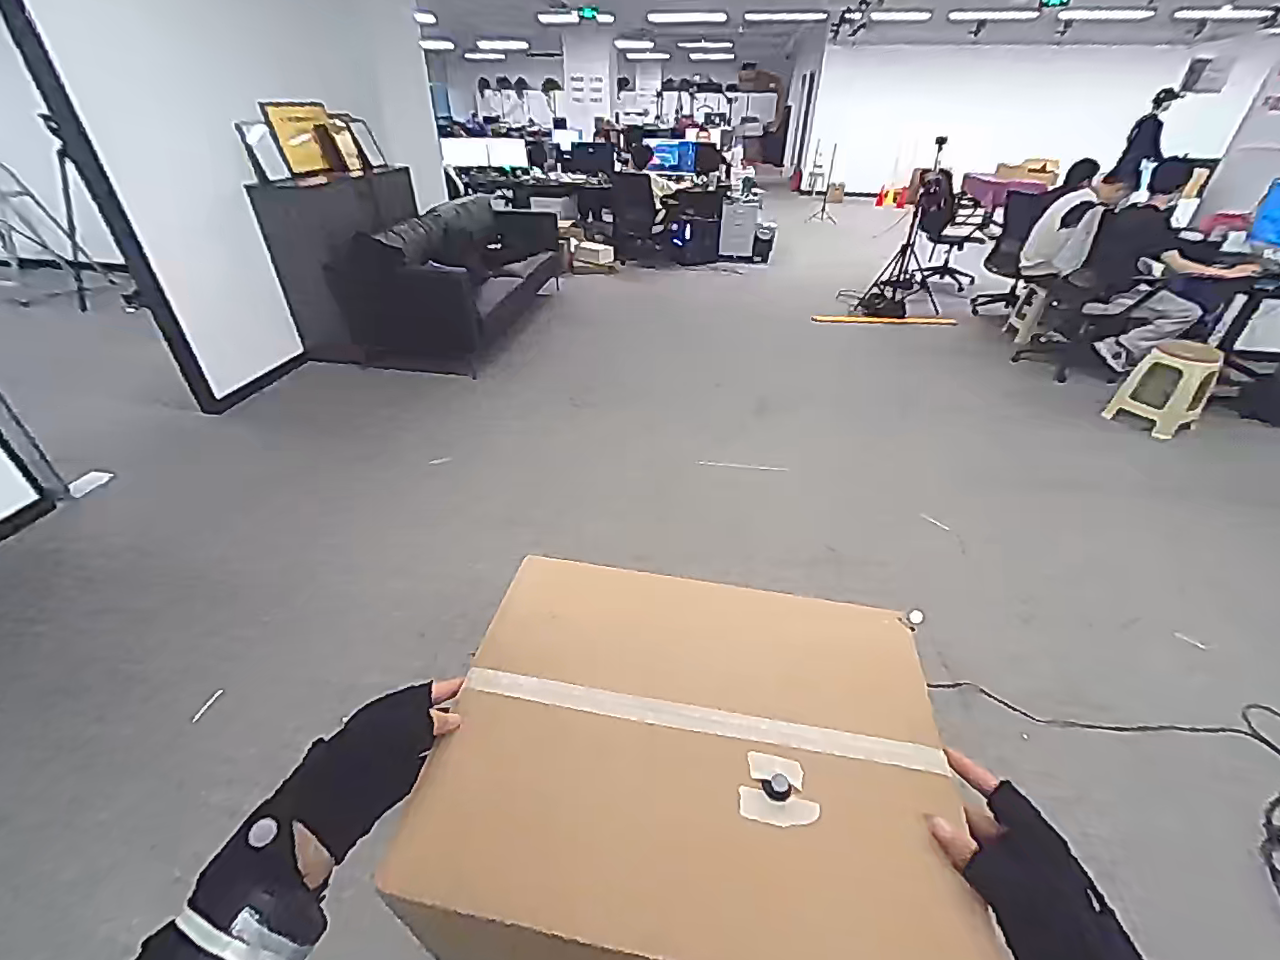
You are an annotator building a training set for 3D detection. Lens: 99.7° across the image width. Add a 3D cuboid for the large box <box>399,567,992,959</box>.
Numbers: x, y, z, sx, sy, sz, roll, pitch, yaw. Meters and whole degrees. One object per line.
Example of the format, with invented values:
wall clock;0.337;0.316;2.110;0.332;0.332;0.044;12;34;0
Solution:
large box;0.045;0.327;0.557;0.408;0.320;0.320;7;38;7
